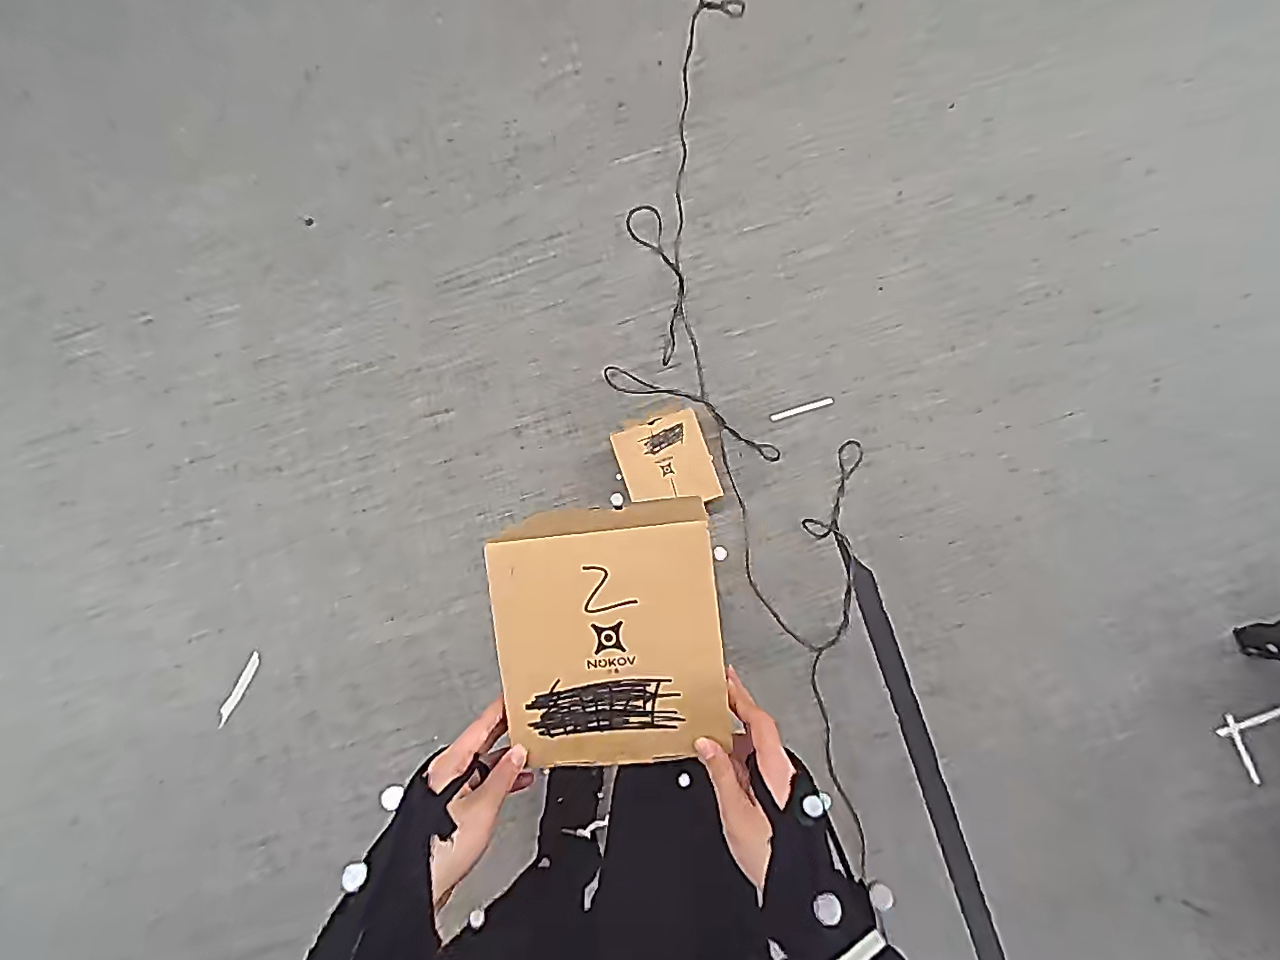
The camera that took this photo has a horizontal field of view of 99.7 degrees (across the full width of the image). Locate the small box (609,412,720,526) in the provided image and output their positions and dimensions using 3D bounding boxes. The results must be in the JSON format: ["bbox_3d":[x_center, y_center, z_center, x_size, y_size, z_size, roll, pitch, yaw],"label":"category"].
[{"bbox_3d":[0.044,-0.013,1.071,0.168,0.176,0.179,-19,85,0],"label":"small box"}]
